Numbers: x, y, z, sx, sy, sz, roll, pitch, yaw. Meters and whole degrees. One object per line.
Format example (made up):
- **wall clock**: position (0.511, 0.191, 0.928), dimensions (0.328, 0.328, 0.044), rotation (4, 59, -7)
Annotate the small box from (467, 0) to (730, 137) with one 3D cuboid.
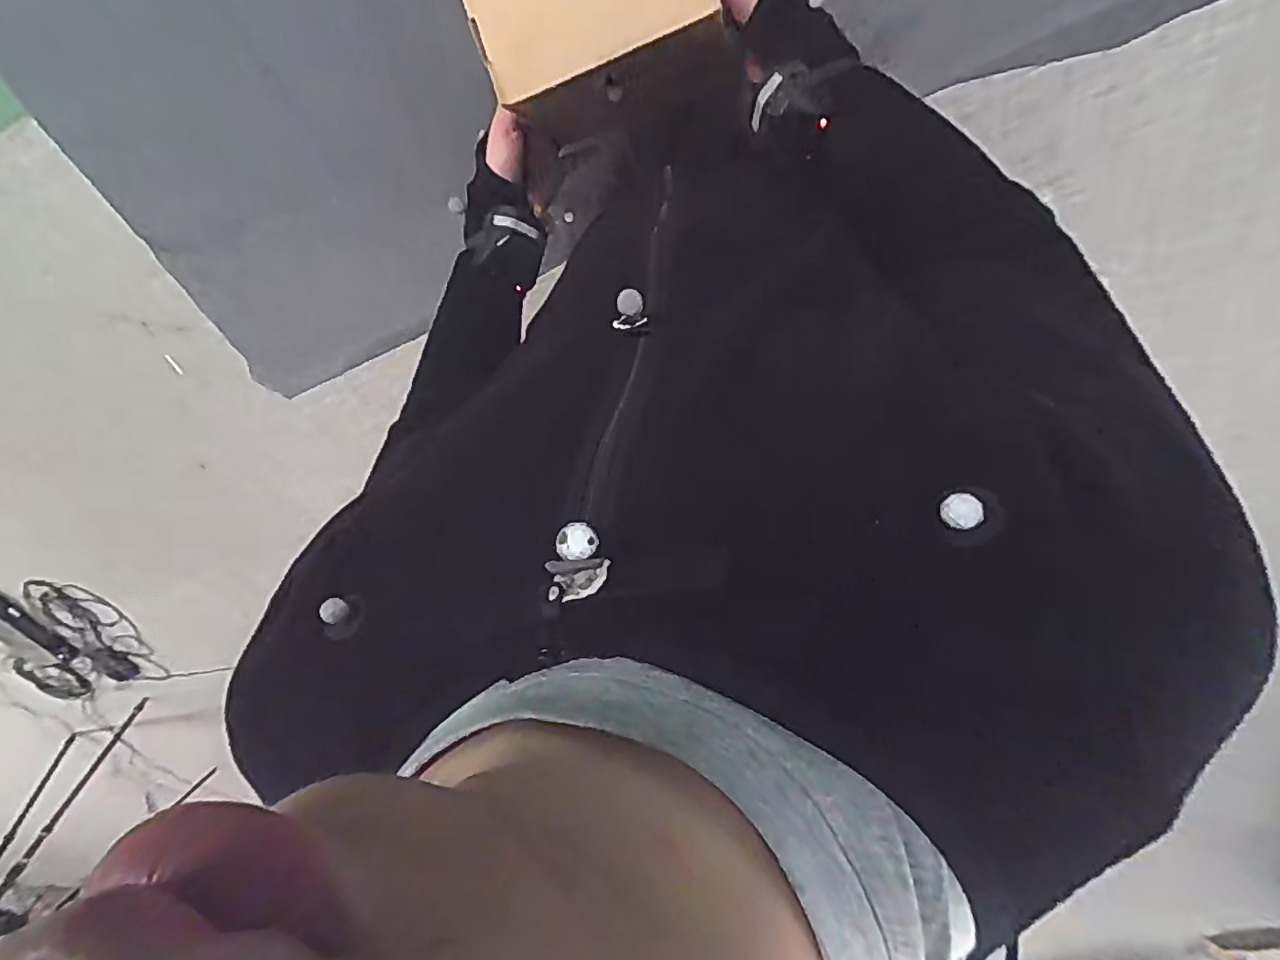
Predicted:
- **small box**: position (-0.033, -0.407, 0.437), dimensions (0.179, 0.176, 0.168), rotation (-13, 111, 17)
